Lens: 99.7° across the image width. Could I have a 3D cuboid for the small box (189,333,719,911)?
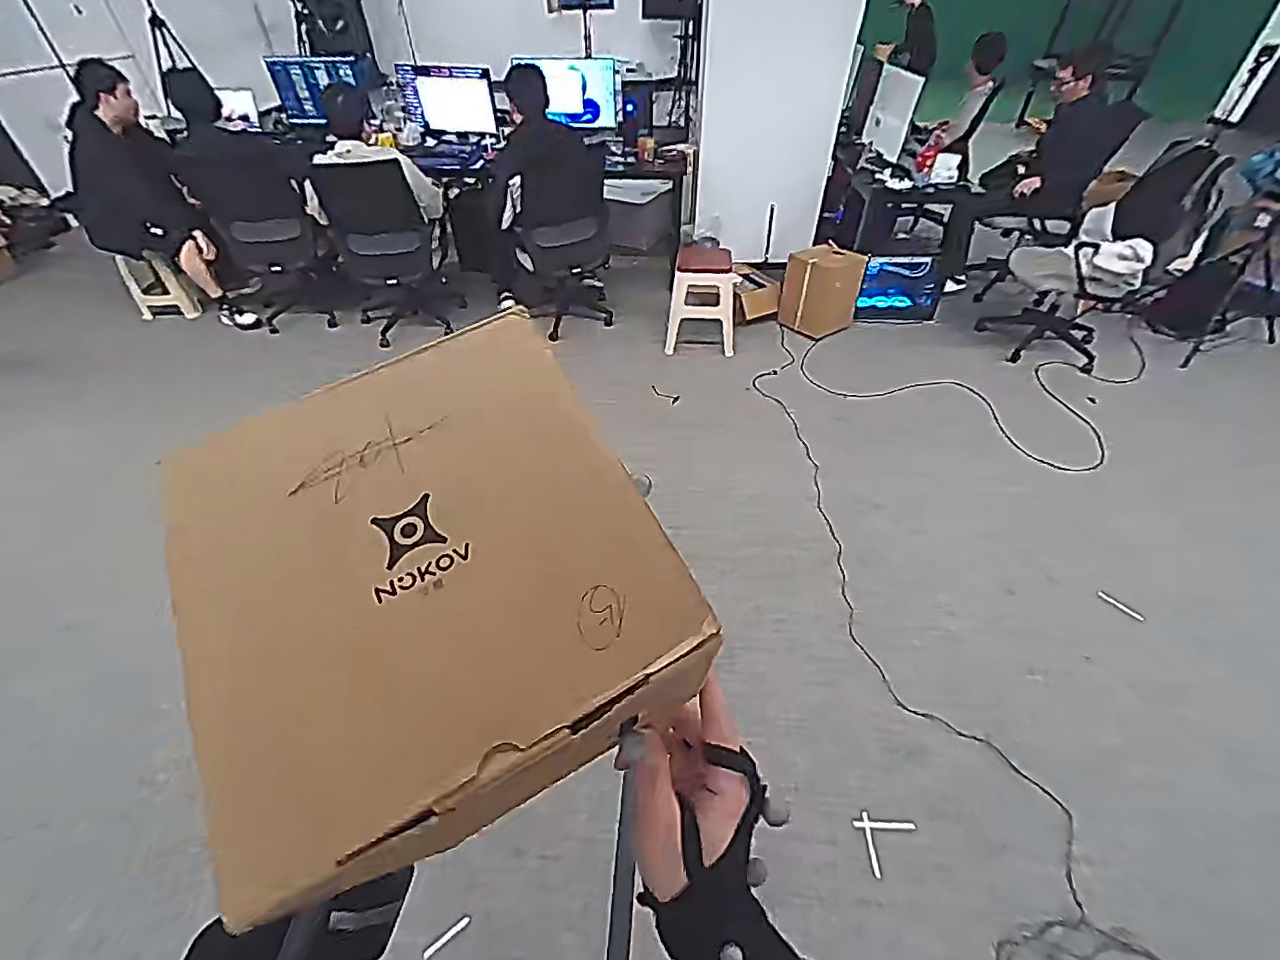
[{"bbox_3d":[-0.078,0.066,0.284,0.168,0.176,0.179,-28,64,-12],"label":"small box"}]
